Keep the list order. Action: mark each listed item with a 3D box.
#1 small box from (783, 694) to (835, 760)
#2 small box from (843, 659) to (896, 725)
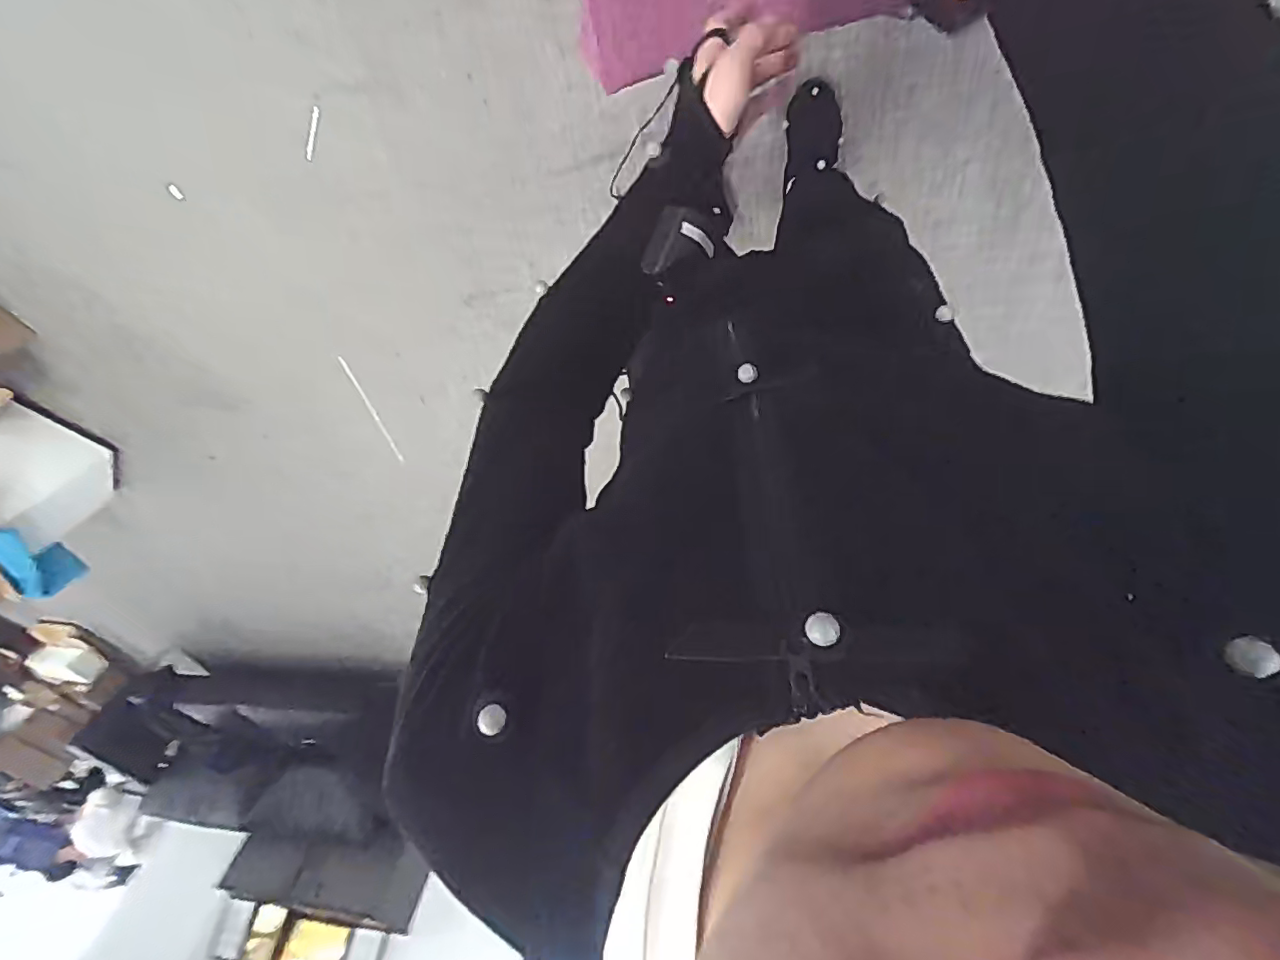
[{"bbox_3d":[0.634,0.934,2.053,0.168,0.176,0.179,1,129,11],"label":"small box"},{"bbox_3d":[0.888,0.825,2.108,0.168,0.176,0.179,0,130,15],"label":"small box"}]
